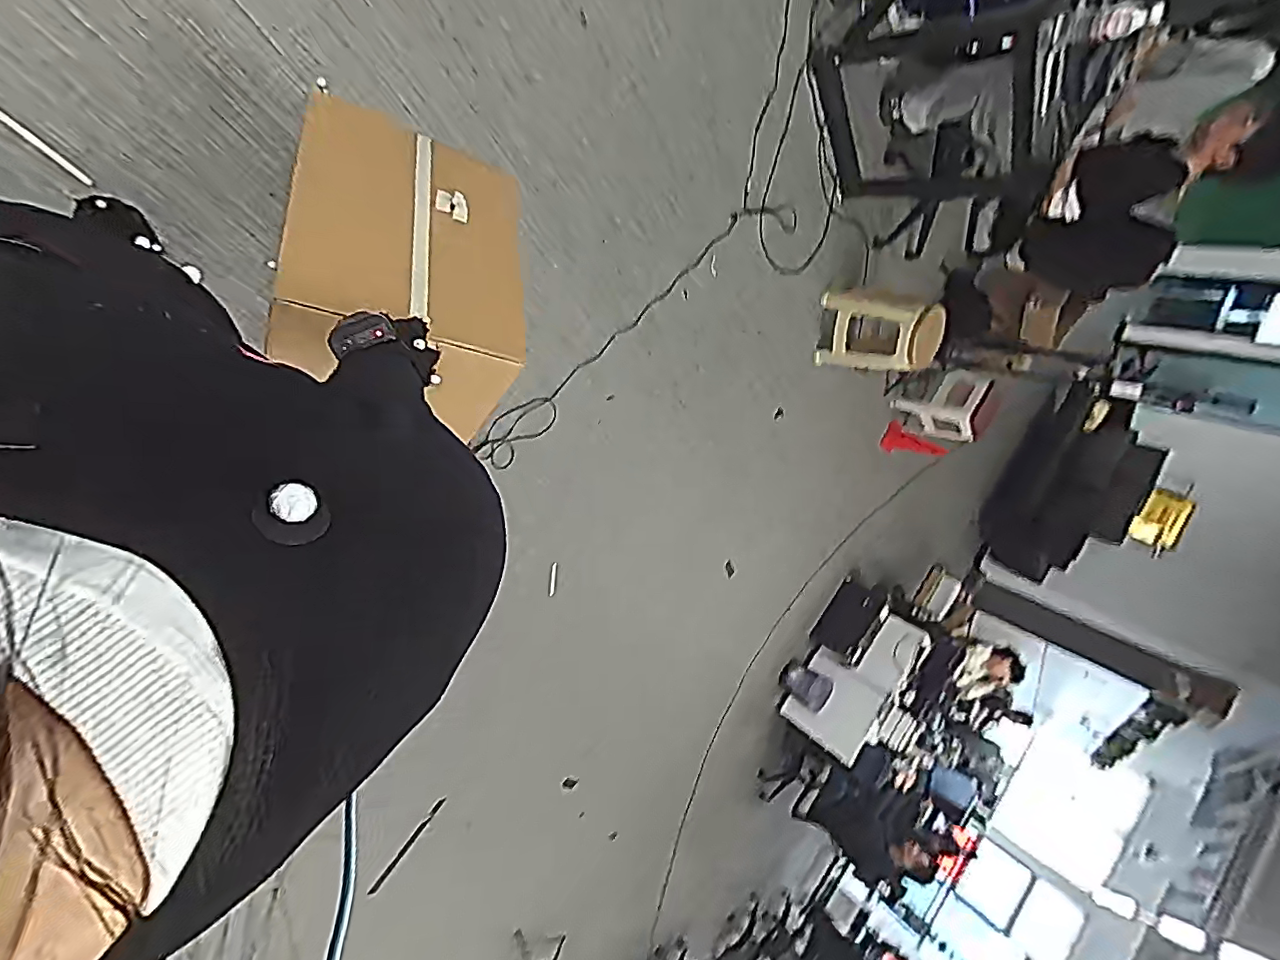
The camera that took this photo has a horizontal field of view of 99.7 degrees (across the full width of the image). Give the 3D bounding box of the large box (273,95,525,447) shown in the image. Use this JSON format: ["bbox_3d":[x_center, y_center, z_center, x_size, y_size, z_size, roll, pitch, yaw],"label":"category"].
[{"bbox_3d":[-0.412,-0.310,0.907,0.320,0.320,0.408,8,61,-35],"label":"large box"}]
